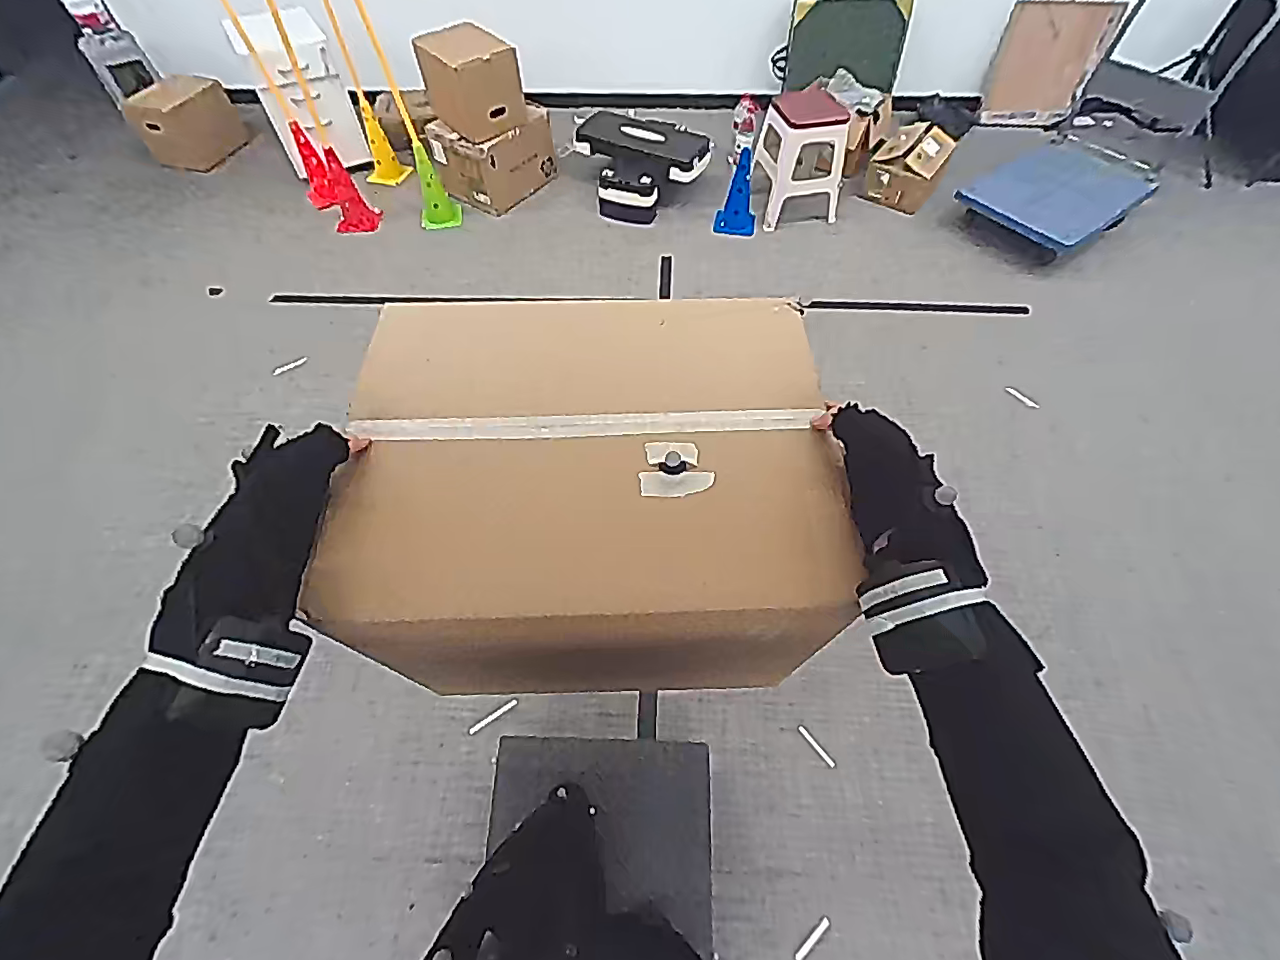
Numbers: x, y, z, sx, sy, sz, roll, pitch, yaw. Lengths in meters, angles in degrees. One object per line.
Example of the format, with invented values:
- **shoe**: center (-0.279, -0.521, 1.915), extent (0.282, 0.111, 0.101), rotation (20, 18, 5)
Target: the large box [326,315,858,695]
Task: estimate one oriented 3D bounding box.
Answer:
- **large box**: center (-0.041, 0.042, 0.601), extent (0.408, 0.320, 0.320), rotation (-1, 59, -1)
